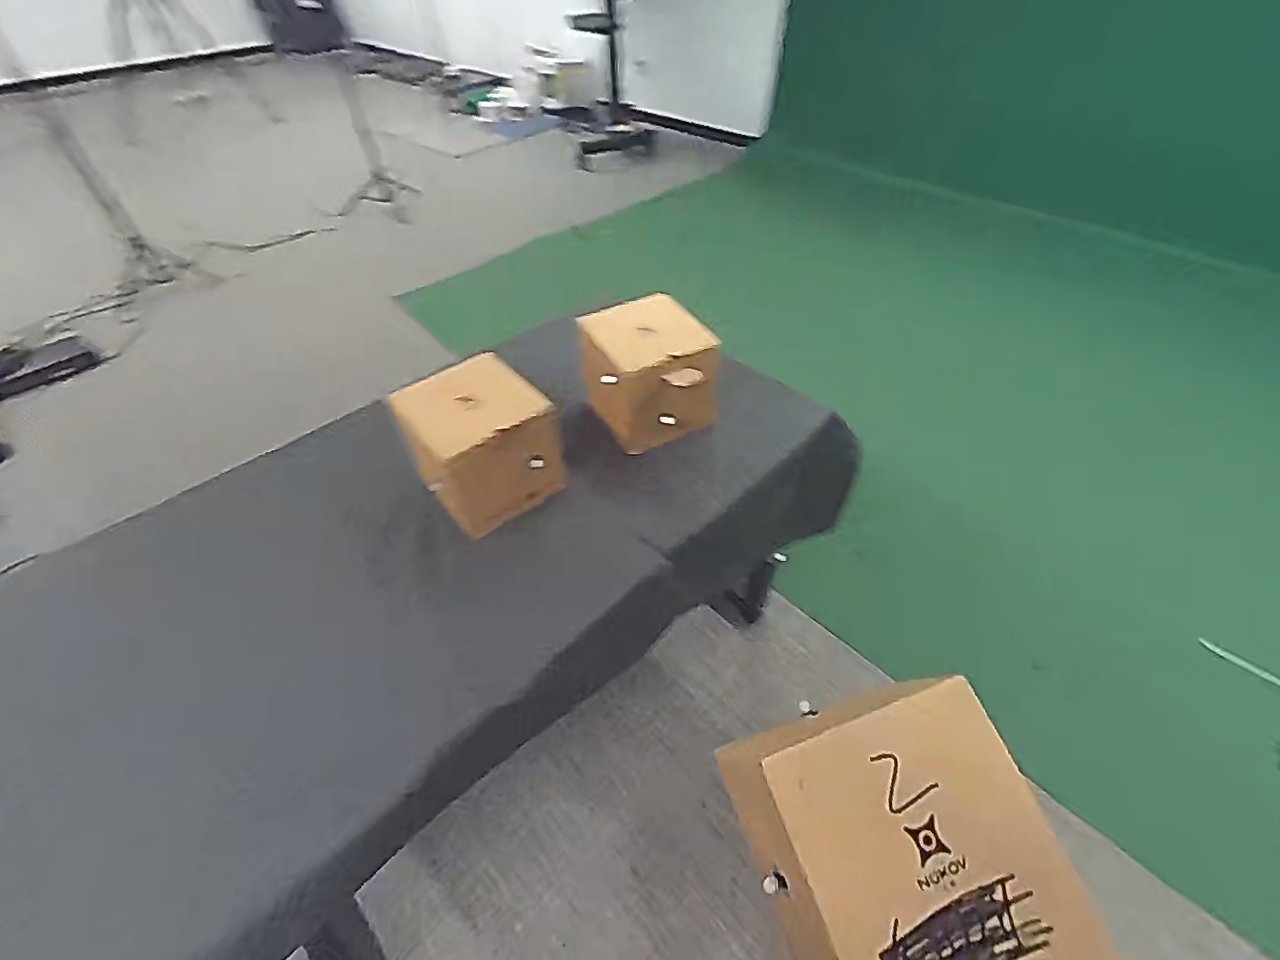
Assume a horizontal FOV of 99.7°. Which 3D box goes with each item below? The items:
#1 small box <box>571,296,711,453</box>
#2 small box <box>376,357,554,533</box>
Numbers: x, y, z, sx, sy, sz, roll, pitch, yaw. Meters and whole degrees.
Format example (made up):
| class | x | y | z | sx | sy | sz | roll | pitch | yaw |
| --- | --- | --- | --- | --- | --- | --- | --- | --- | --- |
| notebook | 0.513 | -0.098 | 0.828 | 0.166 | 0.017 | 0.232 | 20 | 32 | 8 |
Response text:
| class | x | y | z | sx | sy | sz | roll | pitch | yaw |
| --- | --- | --- | --- | --- | --- | --- | --- | --- | --- |
| small box | -0.003 | -0.177 | 0.906 | 0.168 | 0.176 | 0.179 | -23 | 51 | -19 |
| small box | -0.245 | -0.046 | 0.793 | 0.168 | 0.176 | 0.179 | -34 | 54 | -27 |
